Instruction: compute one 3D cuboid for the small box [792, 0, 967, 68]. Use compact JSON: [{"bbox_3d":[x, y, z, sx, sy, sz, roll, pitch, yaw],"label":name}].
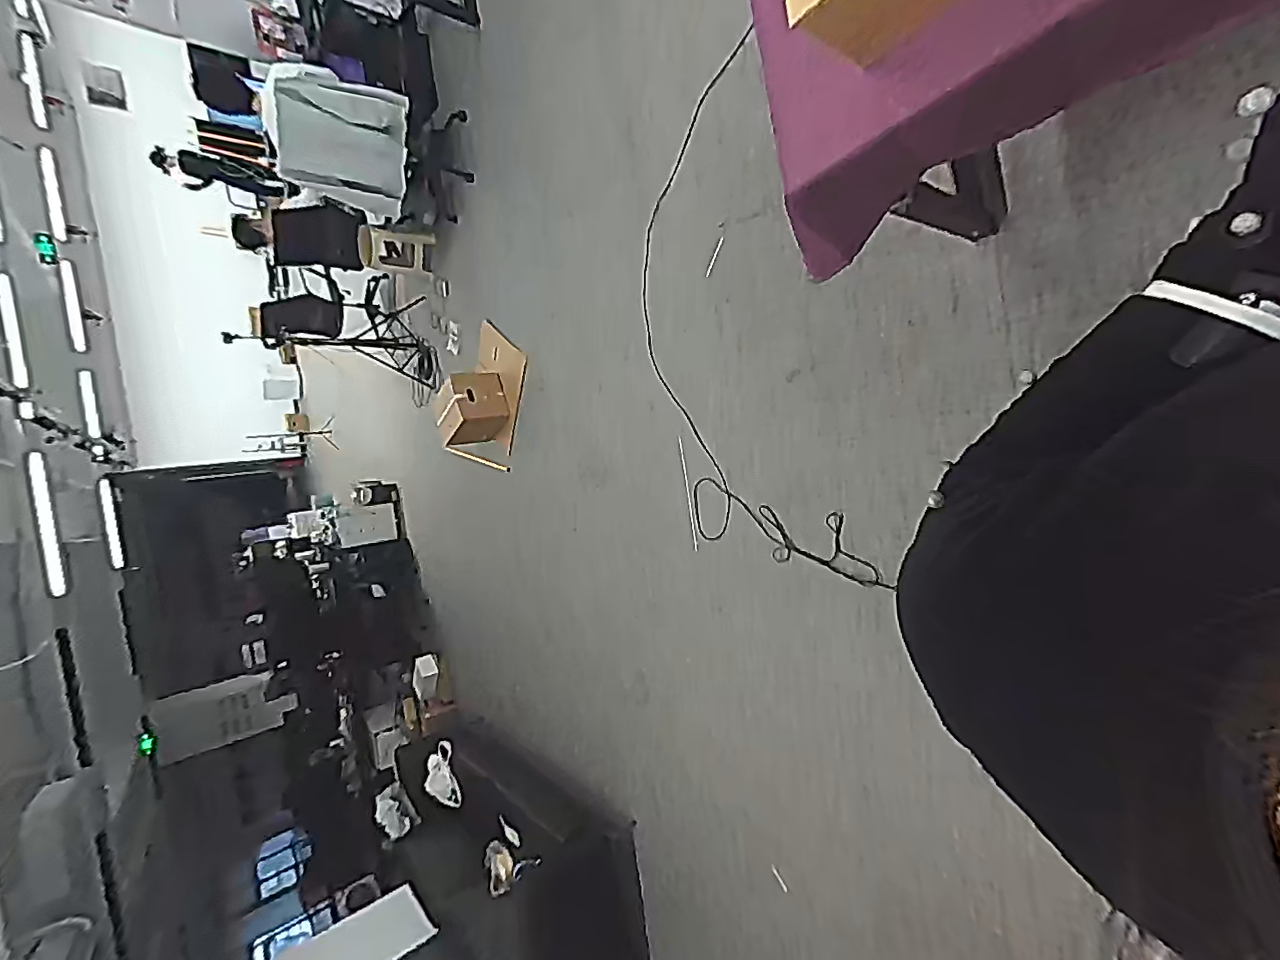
[{"bbox_3d":[0.305,-0.666,0.671,0.179,0.176,0.168,-7,91,52],"label":"small box"}]
